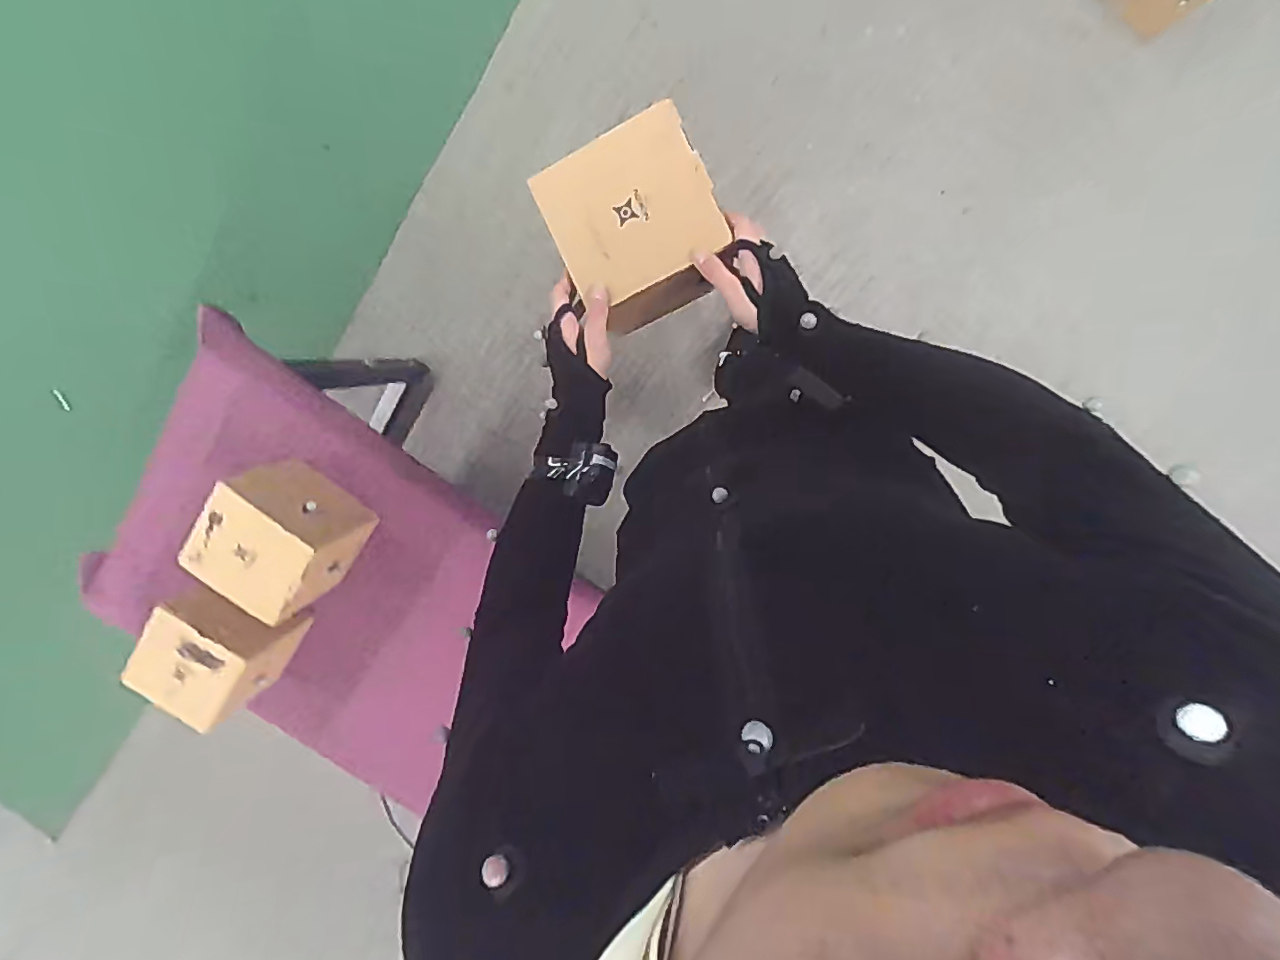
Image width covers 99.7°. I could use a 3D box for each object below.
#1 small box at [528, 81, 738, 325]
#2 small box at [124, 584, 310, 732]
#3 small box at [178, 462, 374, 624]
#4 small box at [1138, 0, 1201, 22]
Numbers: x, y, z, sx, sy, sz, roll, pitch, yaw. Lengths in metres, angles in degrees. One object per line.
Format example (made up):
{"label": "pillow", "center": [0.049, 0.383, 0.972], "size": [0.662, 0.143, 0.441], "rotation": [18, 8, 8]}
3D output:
{"label": "small box", "center": [0.002, -0.303, 0.636], "size": [0.179, 0.176, 0.168], "rotation": [-24, 92, 11]}
{"label": "small box", "center": [-0.723, 0.286, 0.946], "size": [0.168, 0.176, 0.179], "rotation": [36, 105, -3]}
{"label": "small box", "center": [-0.578, 0.091, 0.882], "size": [0.179, 0.176, 0.168], "rotation": [37, 105, -4]}
{"label": "small box", "center": [1.186, -1.138, 1.146], "size": [0.179, 0.176, 0.168], "rotation": [38, 104, -4]}
